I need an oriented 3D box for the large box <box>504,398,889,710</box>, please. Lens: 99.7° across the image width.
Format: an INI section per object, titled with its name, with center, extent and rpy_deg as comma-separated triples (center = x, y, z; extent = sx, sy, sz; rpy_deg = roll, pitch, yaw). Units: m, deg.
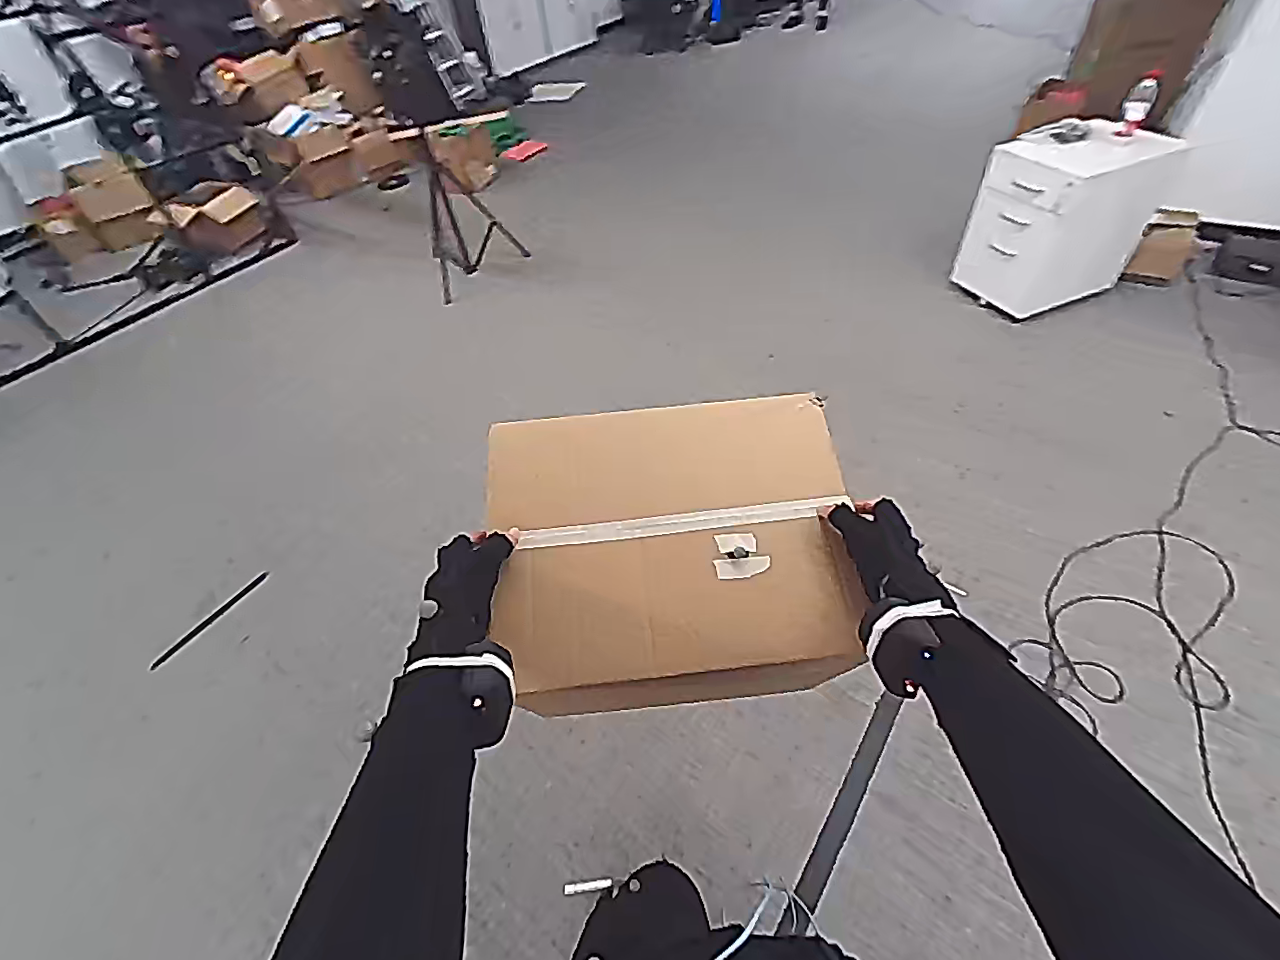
[large box]
center = 0.046, 0.118, 0.744
extent = 0.408, 0.320, 0.320
rpy_deg = -5, 63, -1
